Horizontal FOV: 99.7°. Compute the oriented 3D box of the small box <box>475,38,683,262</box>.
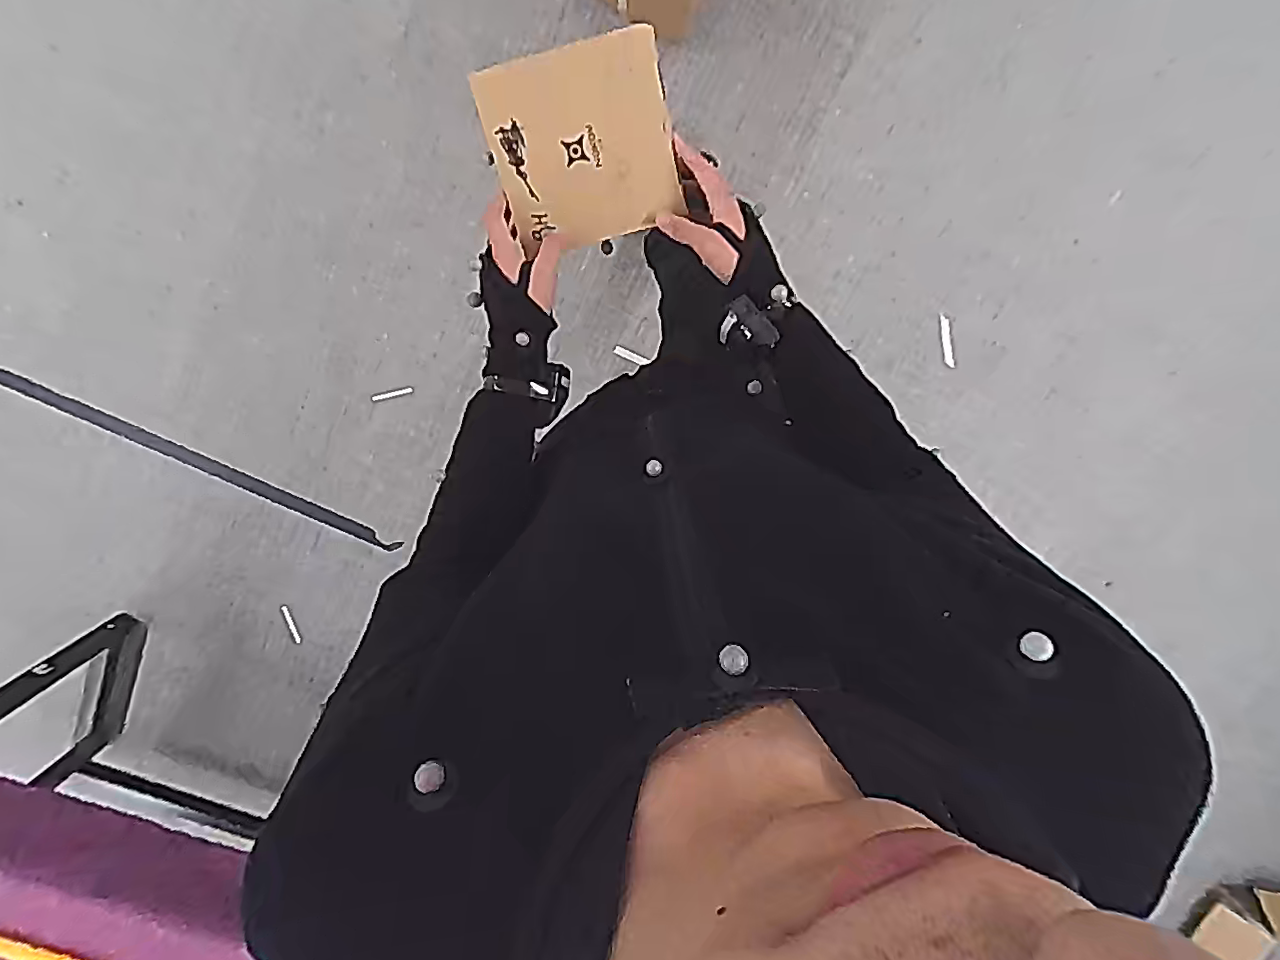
[{"bbox_3d":[-0.063,-0.357,0.611,0.179,0.176,0.168,-14,115,1],"label":"small box"}]
